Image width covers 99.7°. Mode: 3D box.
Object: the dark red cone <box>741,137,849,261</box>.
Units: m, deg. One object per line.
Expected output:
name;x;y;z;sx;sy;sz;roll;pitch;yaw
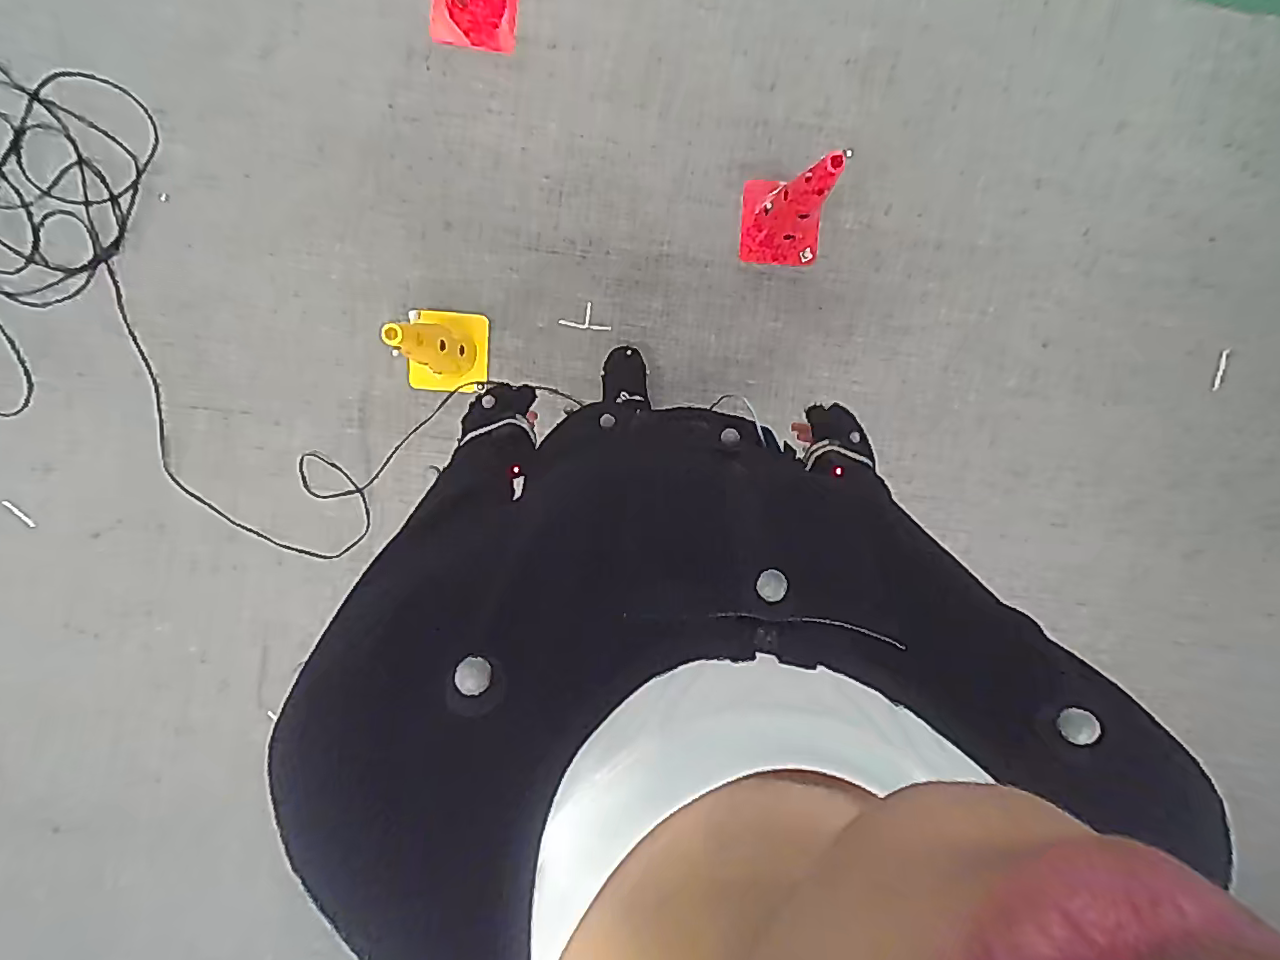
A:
dark red cone;0.362;-0.633;1.186;0.202;0.394;0.201;1;97;-2

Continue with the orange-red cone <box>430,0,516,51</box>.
orange-red cone;-0.390;-1.110;1.113;0.198;0.360;0.199;7;98;-2
